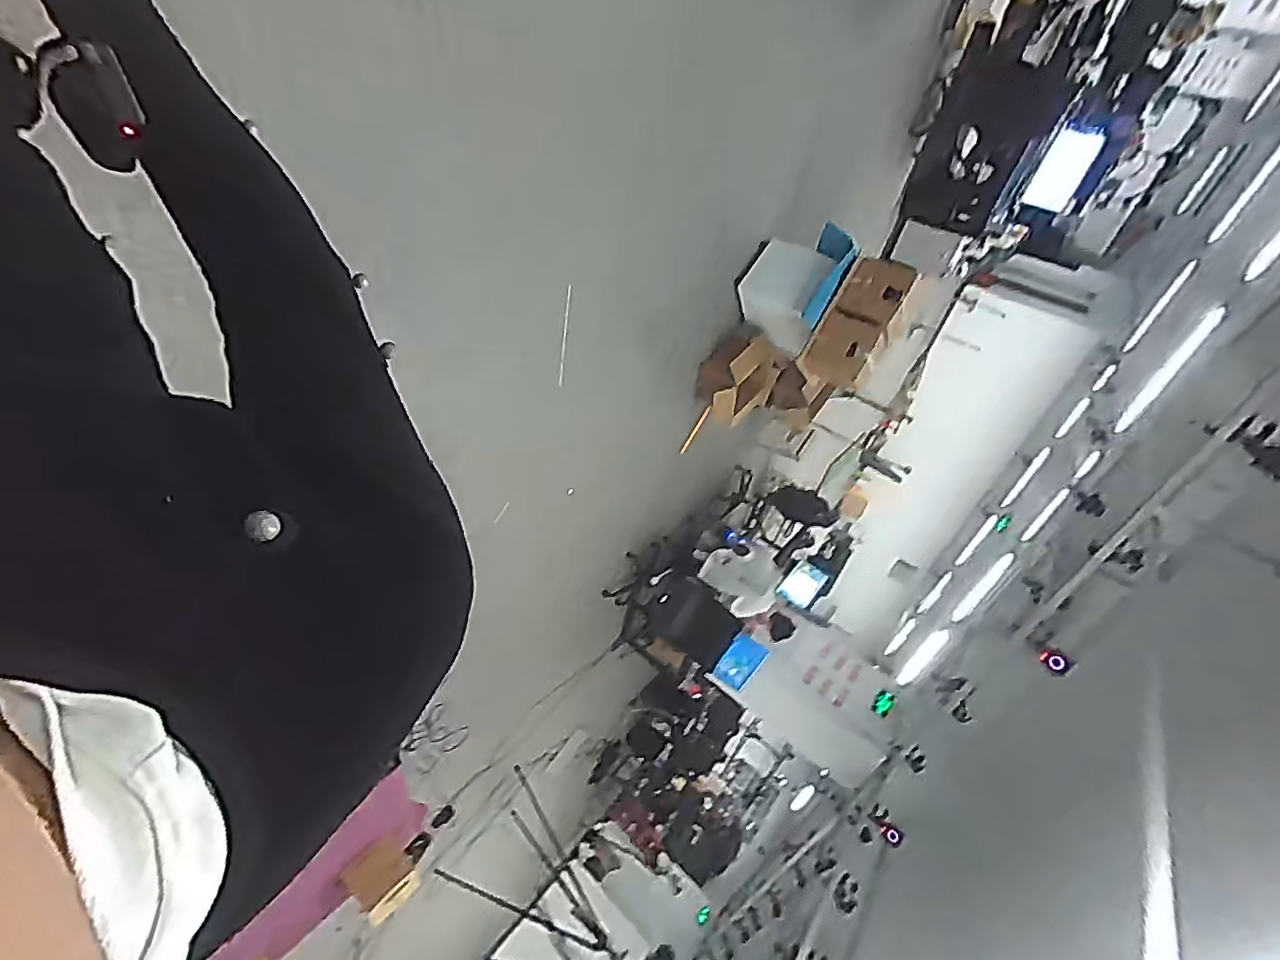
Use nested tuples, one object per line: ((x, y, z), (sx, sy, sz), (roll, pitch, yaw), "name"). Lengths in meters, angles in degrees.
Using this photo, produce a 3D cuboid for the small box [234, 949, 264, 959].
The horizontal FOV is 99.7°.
((-1.164, 1.519, 1.566), (0.168, 0.176, 0.179), (-32, 146, -42), "small box")
